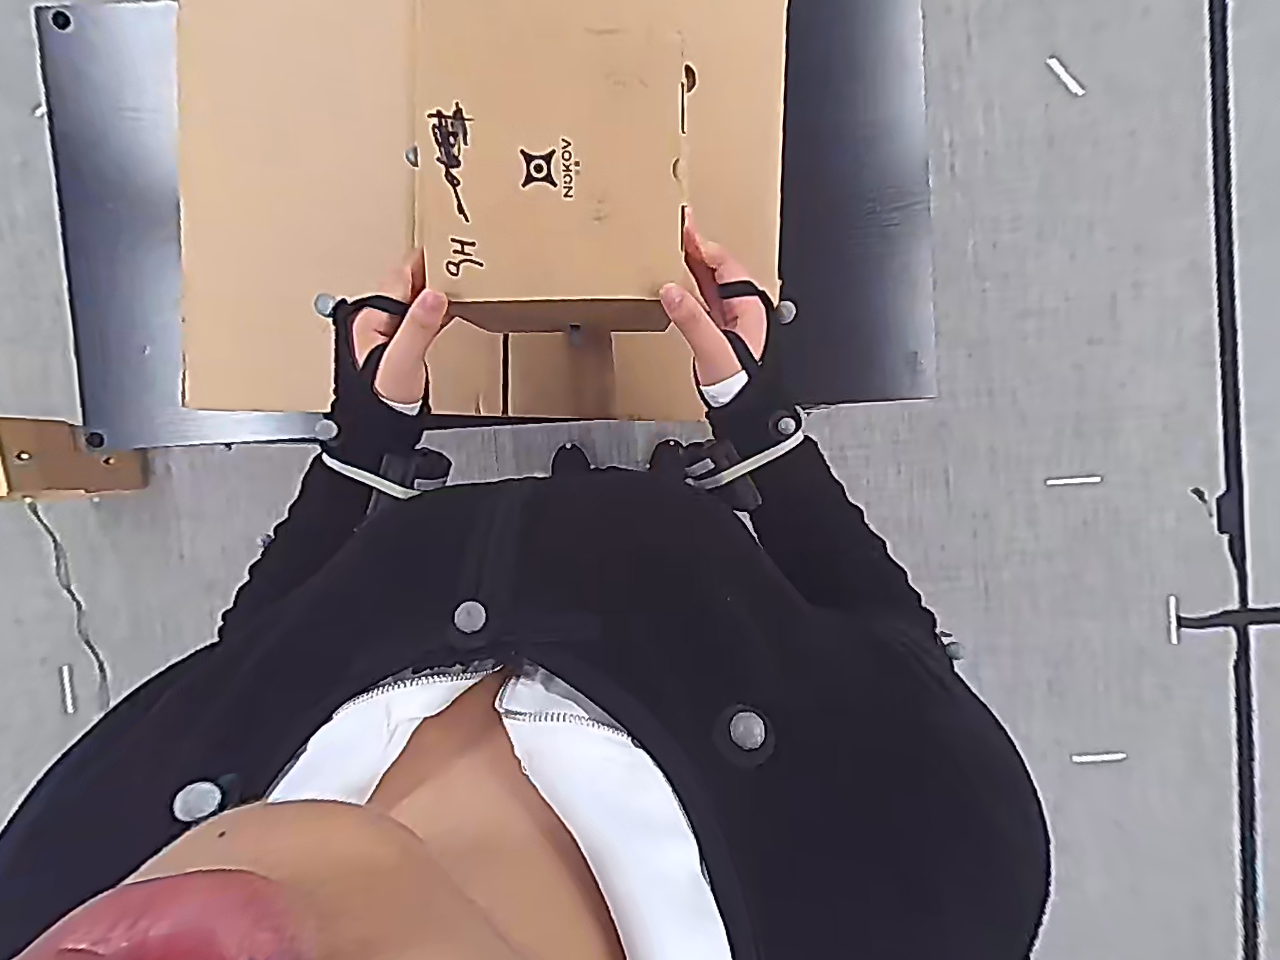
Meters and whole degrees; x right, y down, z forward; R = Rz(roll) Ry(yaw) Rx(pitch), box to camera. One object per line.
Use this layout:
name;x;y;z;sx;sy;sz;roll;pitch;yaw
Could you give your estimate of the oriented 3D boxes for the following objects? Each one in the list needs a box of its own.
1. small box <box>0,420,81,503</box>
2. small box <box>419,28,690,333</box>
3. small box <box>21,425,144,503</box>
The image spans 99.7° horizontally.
small box;-1.455;-0.040;1.243;0.168;0.176;0.179;-10;92;-1
small box;-0.059;-0.216;0.437;0.179;0.176;0.168;-1;97;-2
small box;-1.455;-0.041;1.406;0.168;0.176;0.179;-8;93;0
